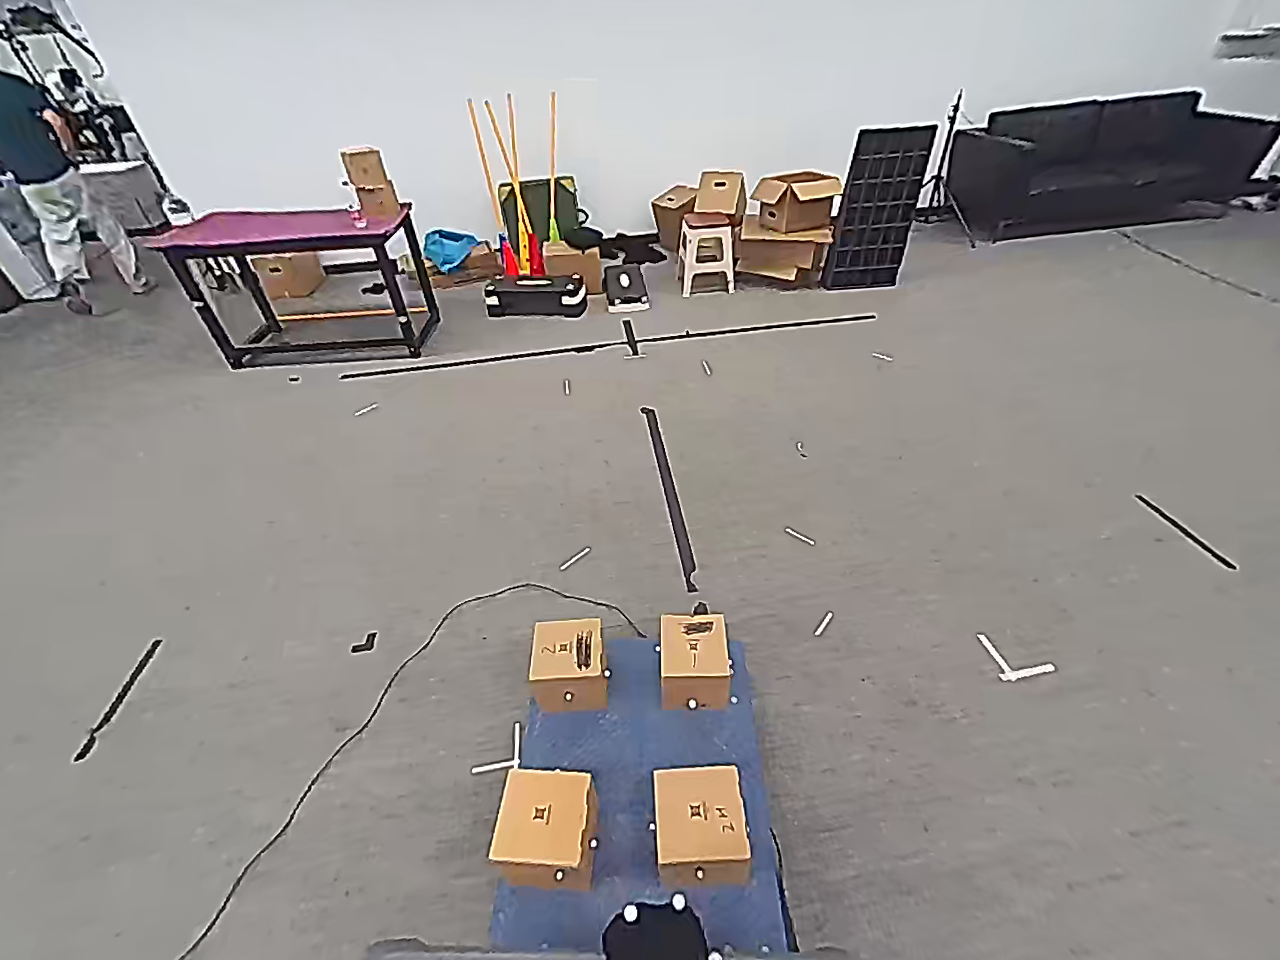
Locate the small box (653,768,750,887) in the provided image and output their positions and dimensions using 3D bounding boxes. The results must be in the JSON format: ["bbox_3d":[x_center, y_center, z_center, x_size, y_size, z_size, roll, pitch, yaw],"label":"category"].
[{"bbox_3d":[0.120,0.711,1.104,0.179,0.176,0.168,-3,40,1],"label":"small box"}]

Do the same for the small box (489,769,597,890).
[{"bbox_3d":[-0.189,0.721,1.114,0.179,0.176,0.168,2,40,3],"label":"small box"}]

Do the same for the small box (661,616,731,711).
[{"bbox_3d":[0.138,0.470,1.389,0.168,0.176,0.179,-1,41,3],"label":"small box"}]
